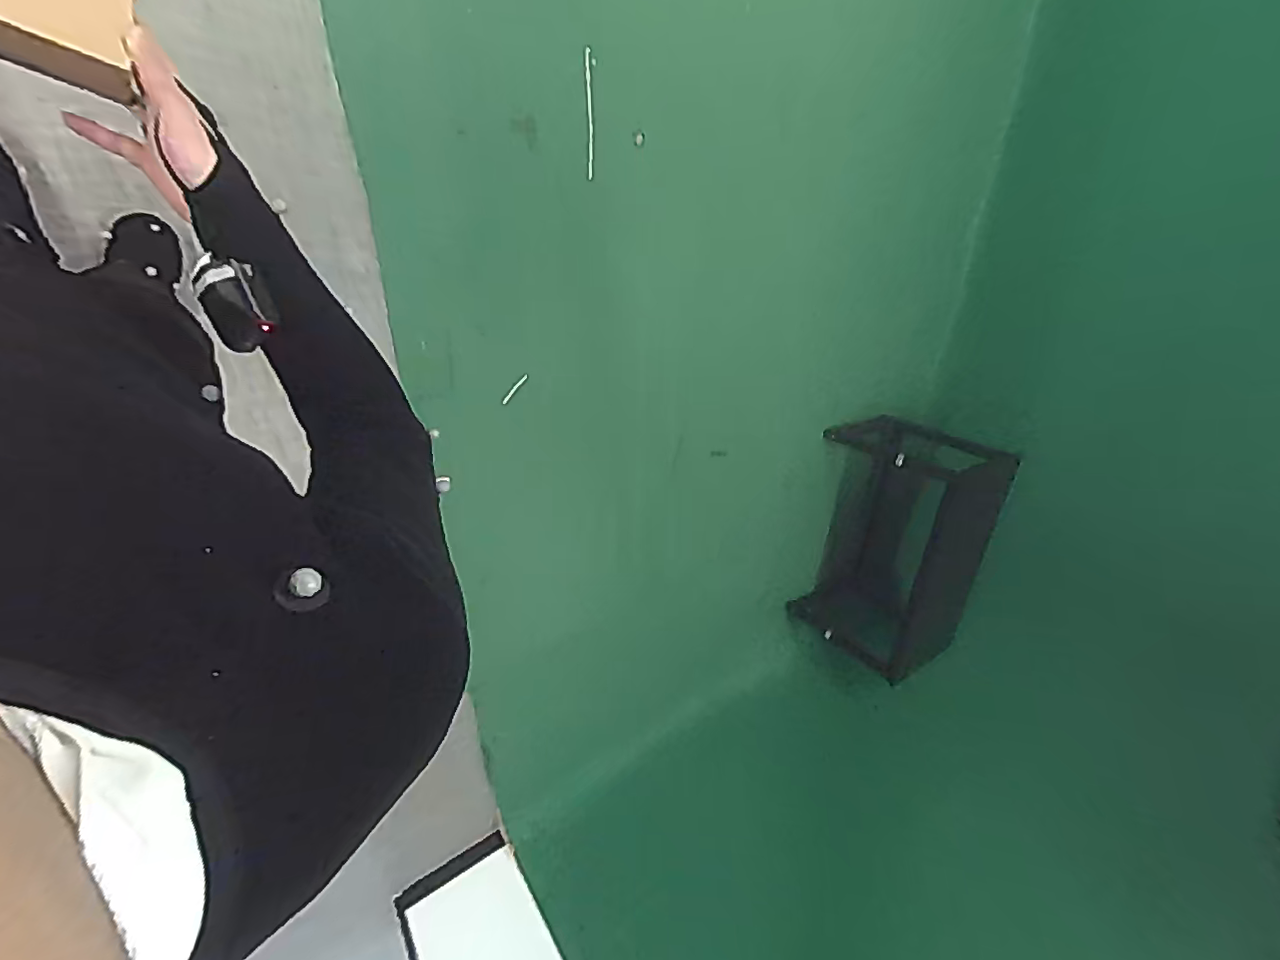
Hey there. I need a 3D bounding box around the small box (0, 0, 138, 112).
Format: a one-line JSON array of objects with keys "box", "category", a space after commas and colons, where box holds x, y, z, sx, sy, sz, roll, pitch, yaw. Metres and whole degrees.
[{"box": [-0.457, -0.390, 0.368, 0.168, 0.176, 0.179, 2, 109, -45], "category": "small box"}]
